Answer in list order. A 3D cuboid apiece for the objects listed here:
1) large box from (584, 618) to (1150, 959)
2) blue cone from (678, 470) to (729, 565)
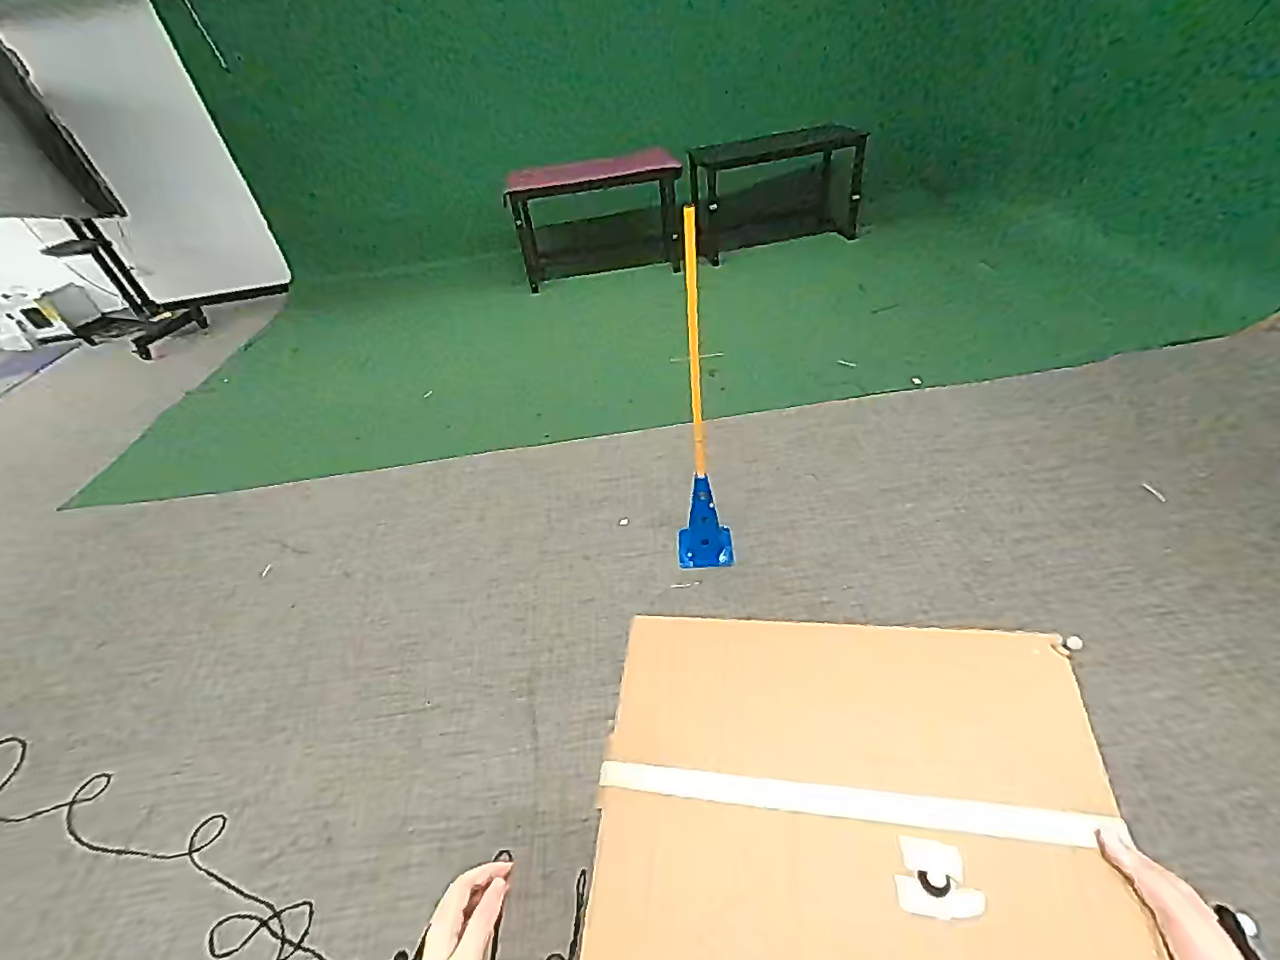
[{"bbox_3d":[0.189,0.357,0.571,0.408,0.320,0.320,-1,53,13],"label":"large box"},{"bbox_3d":[0.222,0.126,1.954,0.193,0.380,0.192,-3,39,7],"label":"blue cone"}]
